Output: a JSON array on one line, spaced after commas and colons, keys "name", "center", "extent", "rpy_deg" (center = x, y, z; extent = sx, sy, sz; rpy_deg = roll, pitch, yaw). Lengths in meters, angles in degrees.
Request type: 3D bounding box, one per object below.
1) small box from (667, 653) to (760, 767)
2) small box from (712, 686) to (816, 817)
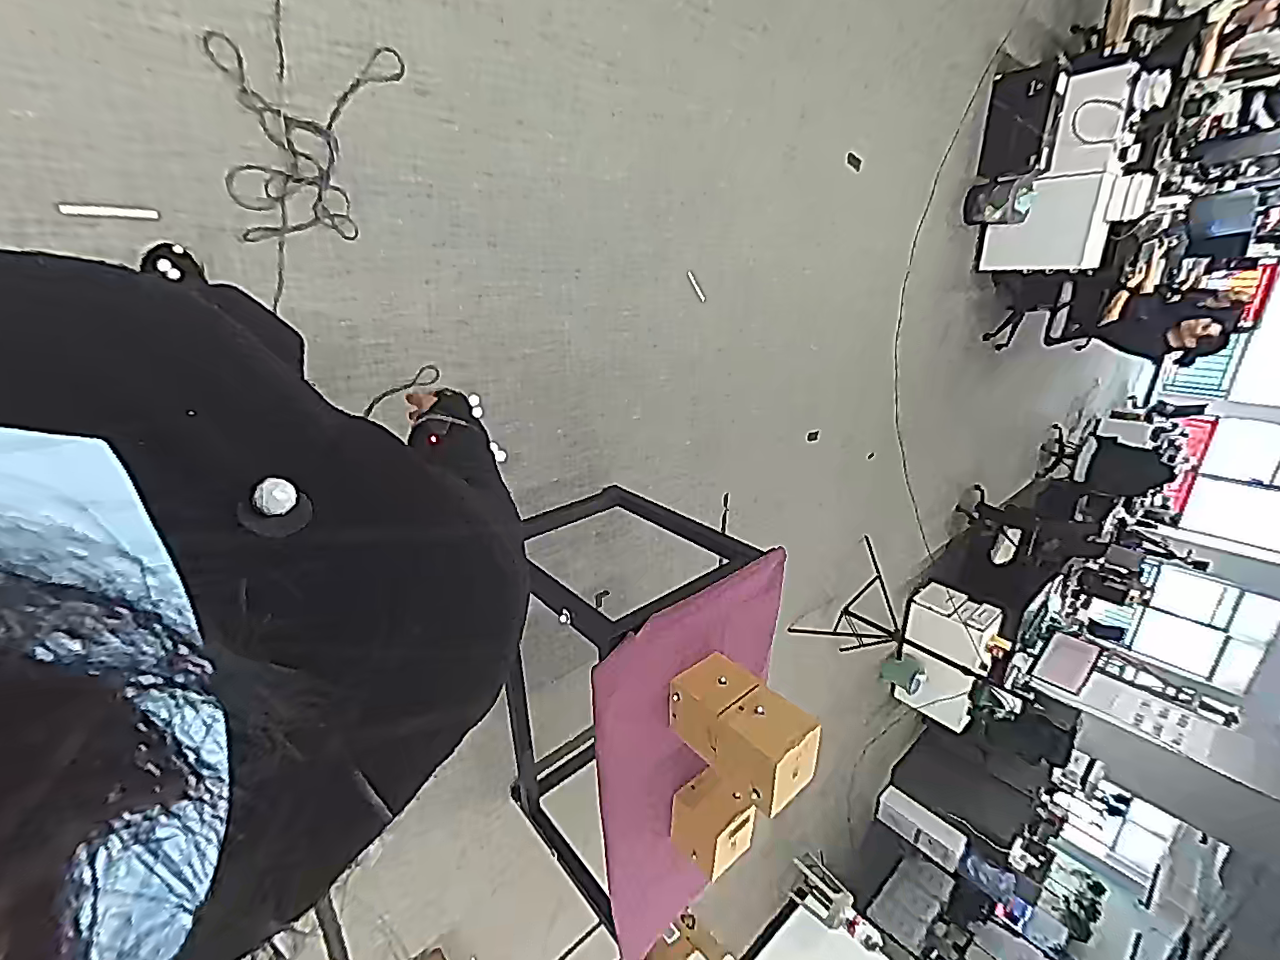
[{"name": "small box", "center": [0.183, 0.581, 1.390], "extent": [0.179, 0.176, 0.168], "rpy_deg": [-18, 117, -38]}, {"name": "small box", "center": [0.284, 0.626, 1.266], "extent": [0.168, 0.176, 0.179], "rpy_deg": [-18, 118, -37]}]
